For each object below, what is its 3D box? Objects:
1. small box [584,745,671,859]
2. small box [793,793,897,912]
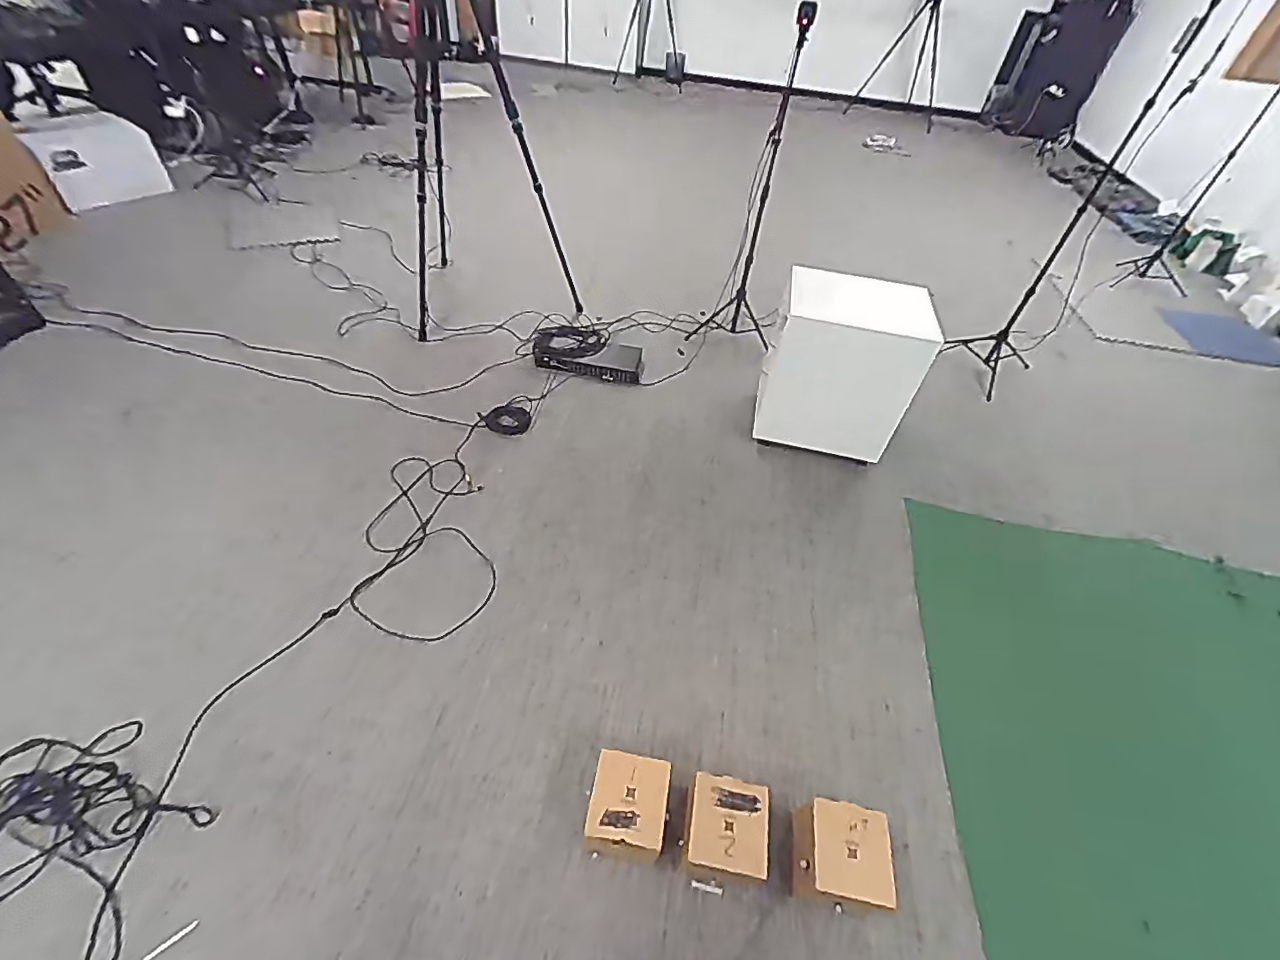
[{"bbox_3d":[-0.027,0.736,1.230,0.168,0.176,0.179,10,46,4],"label":"small box"},{"bbox_3d":[0.444,0.827,1.197,0.168,0.176,0.179,12,47,4],"label":"small box"}]
